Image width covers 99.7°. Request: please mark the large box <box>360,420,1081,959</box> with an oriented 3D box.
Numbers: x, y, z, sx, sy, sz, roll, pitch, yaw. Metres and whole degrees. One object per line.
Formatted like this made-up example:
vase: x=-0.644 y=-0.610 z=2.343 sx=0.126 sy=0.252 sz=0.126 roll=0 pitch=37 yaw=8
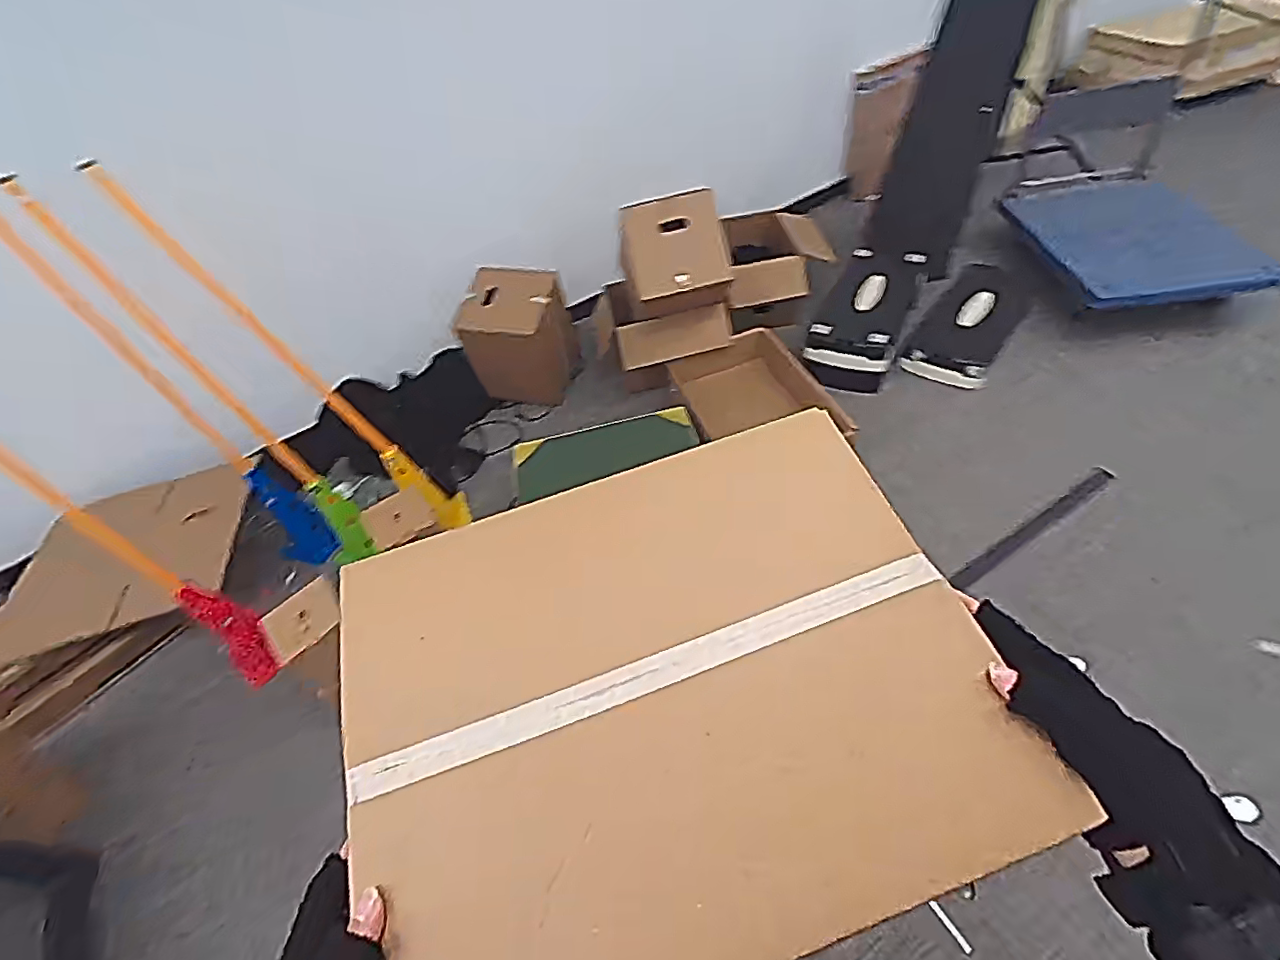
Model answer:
large box: x=0.033 y=0.209 z=0.486 sx=0.408 sy=0.320 sz=0.320 roll=-19 pitch=58 yaw=-5
